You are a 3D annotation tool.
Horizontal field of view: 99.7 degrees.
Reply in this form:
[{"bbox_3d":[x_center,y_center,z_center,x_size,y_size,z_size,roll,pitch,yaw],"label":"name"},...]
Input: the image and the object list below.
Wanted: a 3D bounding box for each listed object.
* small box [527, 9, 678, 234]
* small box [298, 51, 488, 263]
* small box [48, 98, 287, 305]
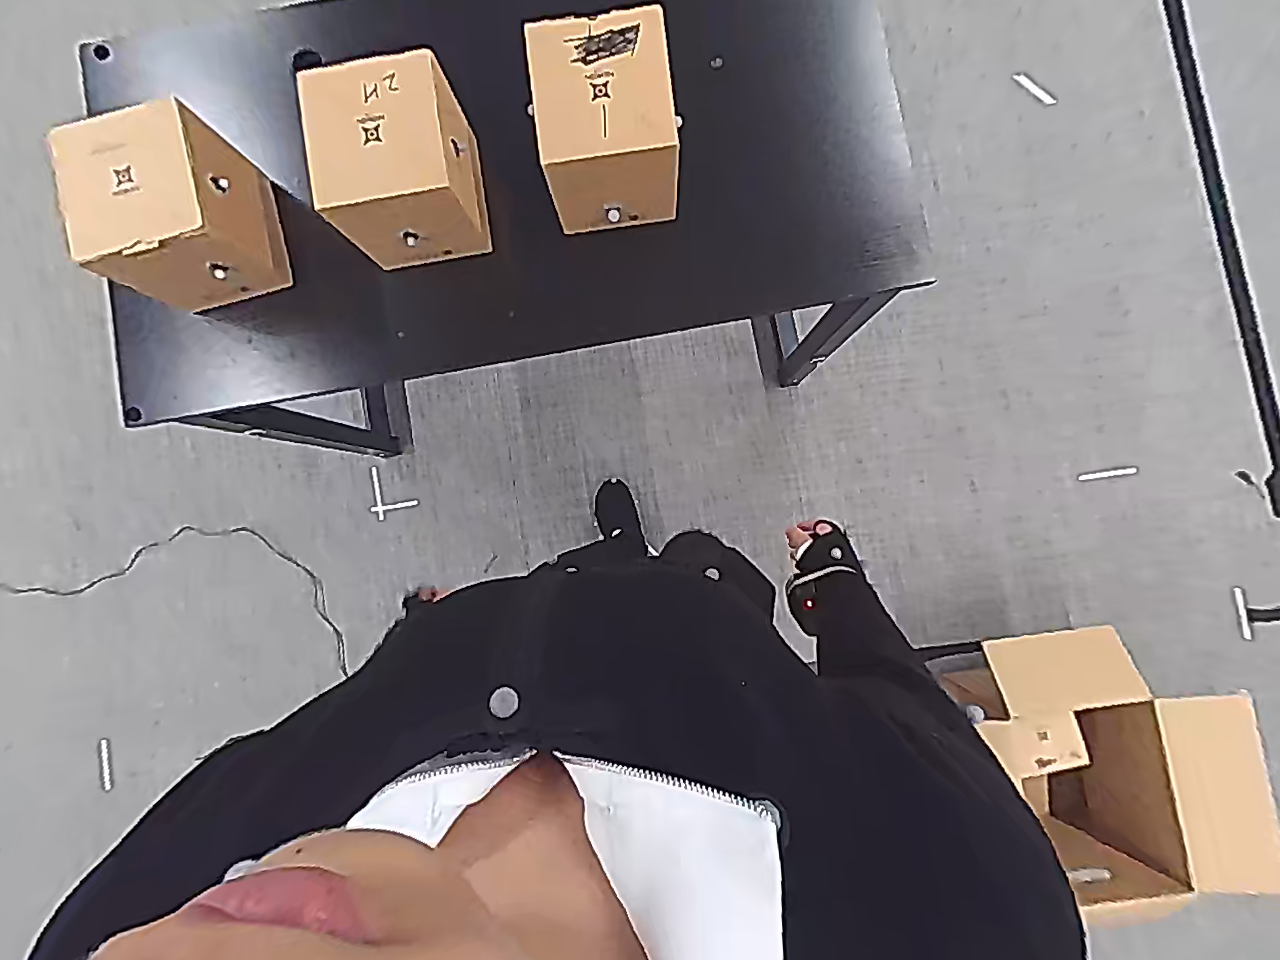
[{"bbox_3d":[-0.043,-0.457,0.714,0.168,0.176,0.179,-7,87,2],"label":"small box"},{"bbox_3d":[-0.314,-0.410,0.721,0.168,0.176,0.179,-9,87,1],"label":"small box"},{"bbox_3d":[-0.617,-0.355,0.730,0.168,0.176,0.179,-15,86,0],"label":"small box"}]
